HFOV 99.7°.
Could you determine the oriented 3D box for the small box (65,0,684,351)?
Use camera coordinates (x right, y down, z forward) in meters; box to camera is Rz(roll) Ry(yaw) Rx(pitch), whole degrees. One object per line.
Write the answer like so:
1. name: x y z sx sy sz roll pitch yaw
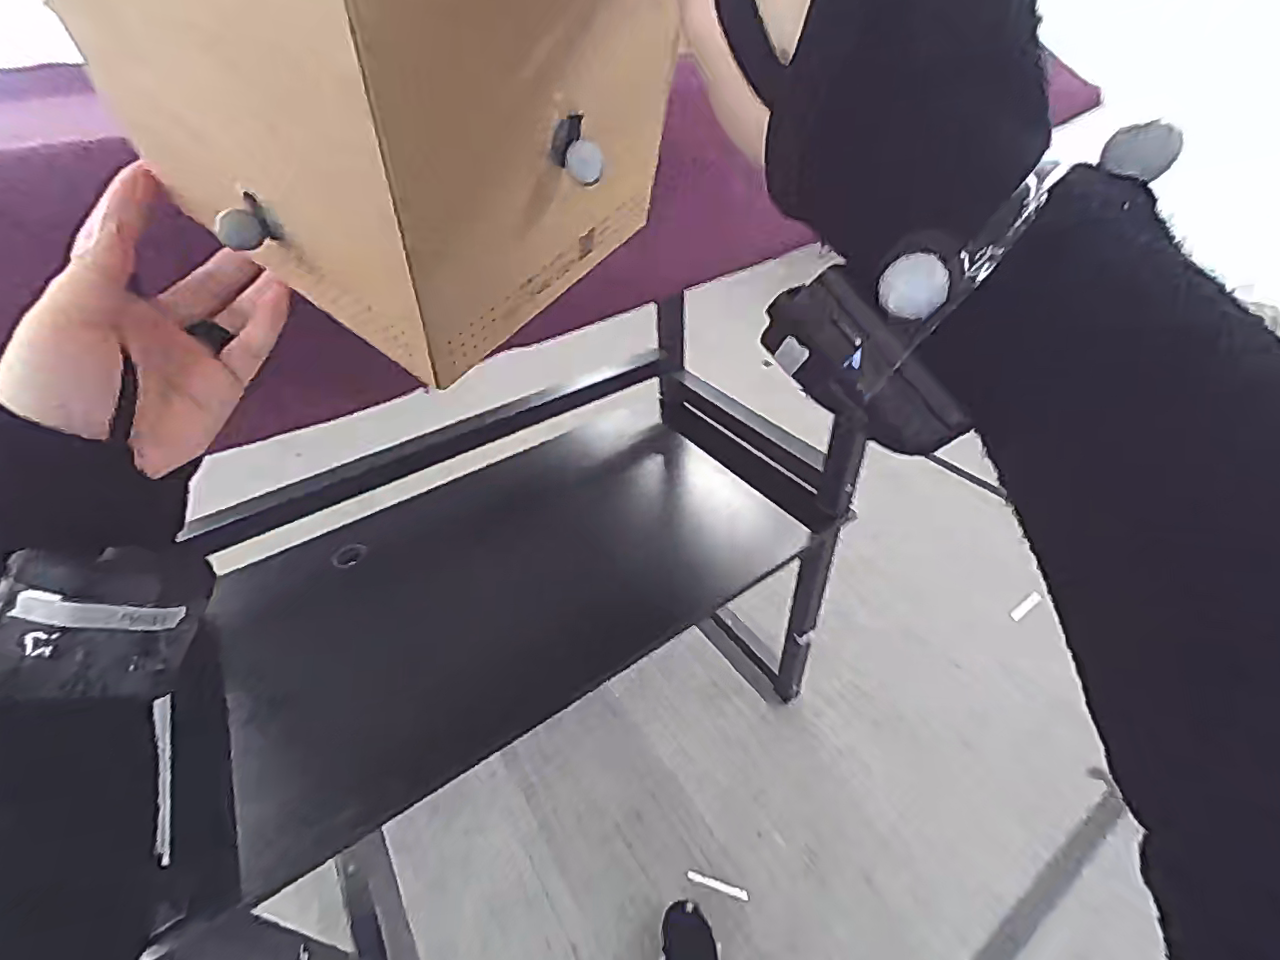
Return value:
1. small box: -0.092 -0.180 0.216 0.179 0.176 0.168 35 61 7
